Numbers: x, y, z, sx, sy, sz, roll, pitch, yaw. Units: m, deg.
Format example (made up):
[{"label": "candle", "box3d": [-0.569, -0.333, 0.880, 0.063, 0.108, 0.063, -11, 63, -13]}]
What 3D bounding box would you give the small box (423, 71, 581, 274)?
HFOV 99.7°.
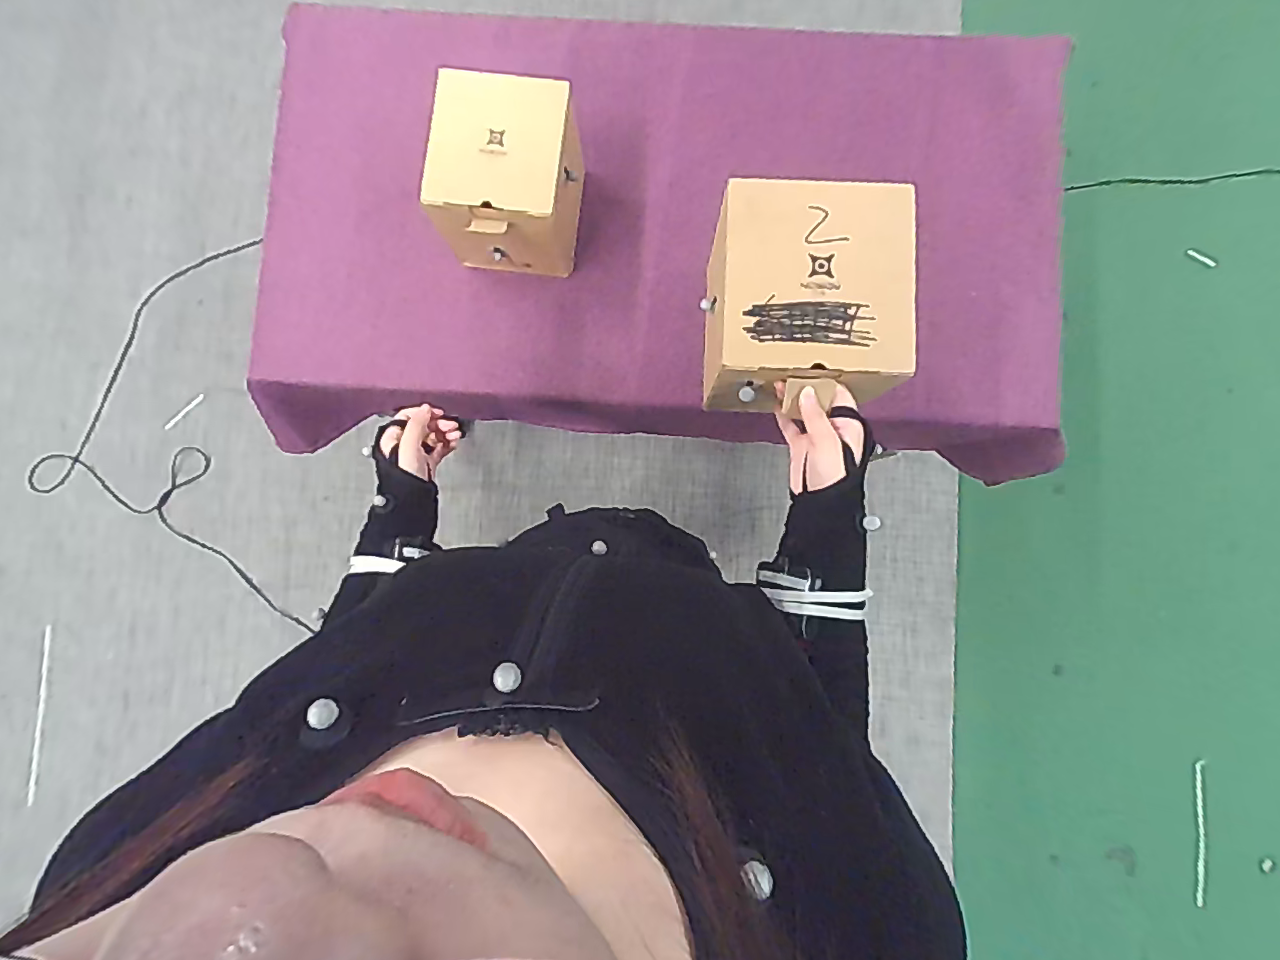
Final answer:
[{"label": "small box", "box3d": [-0.179, -0.417, 0.757, 0.168, 0.176, 0.179, 7, 87, 1]}]
